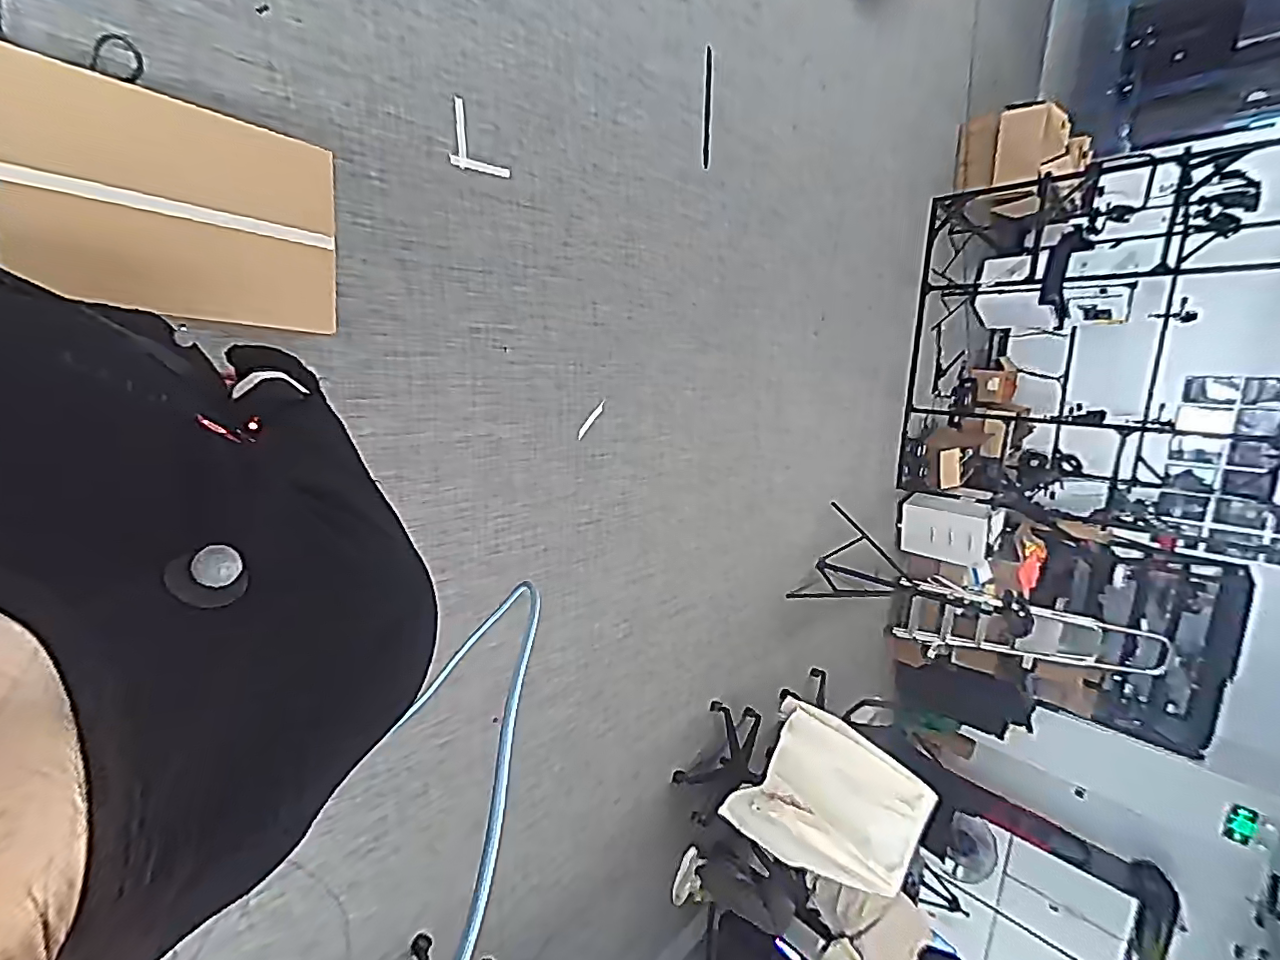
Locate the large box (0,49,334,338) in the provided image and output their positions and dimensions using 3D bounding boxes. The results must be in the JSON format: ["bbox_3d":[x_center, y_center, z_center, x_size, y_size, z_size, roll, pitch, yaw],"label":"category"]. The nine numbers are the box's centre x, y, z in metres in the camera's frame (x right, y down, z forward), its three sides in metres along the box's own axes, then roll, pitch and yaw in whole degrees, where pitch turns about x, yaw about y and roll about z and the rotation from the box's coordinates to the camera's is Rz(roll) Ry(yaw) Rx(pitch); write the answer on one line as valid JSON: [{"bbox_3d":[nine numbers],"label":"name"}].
[{"bbox_3d":[-0.796,-0.423,0.922,0.408,0.320,0.320,-5,104,-46],"label":"large box"}]
